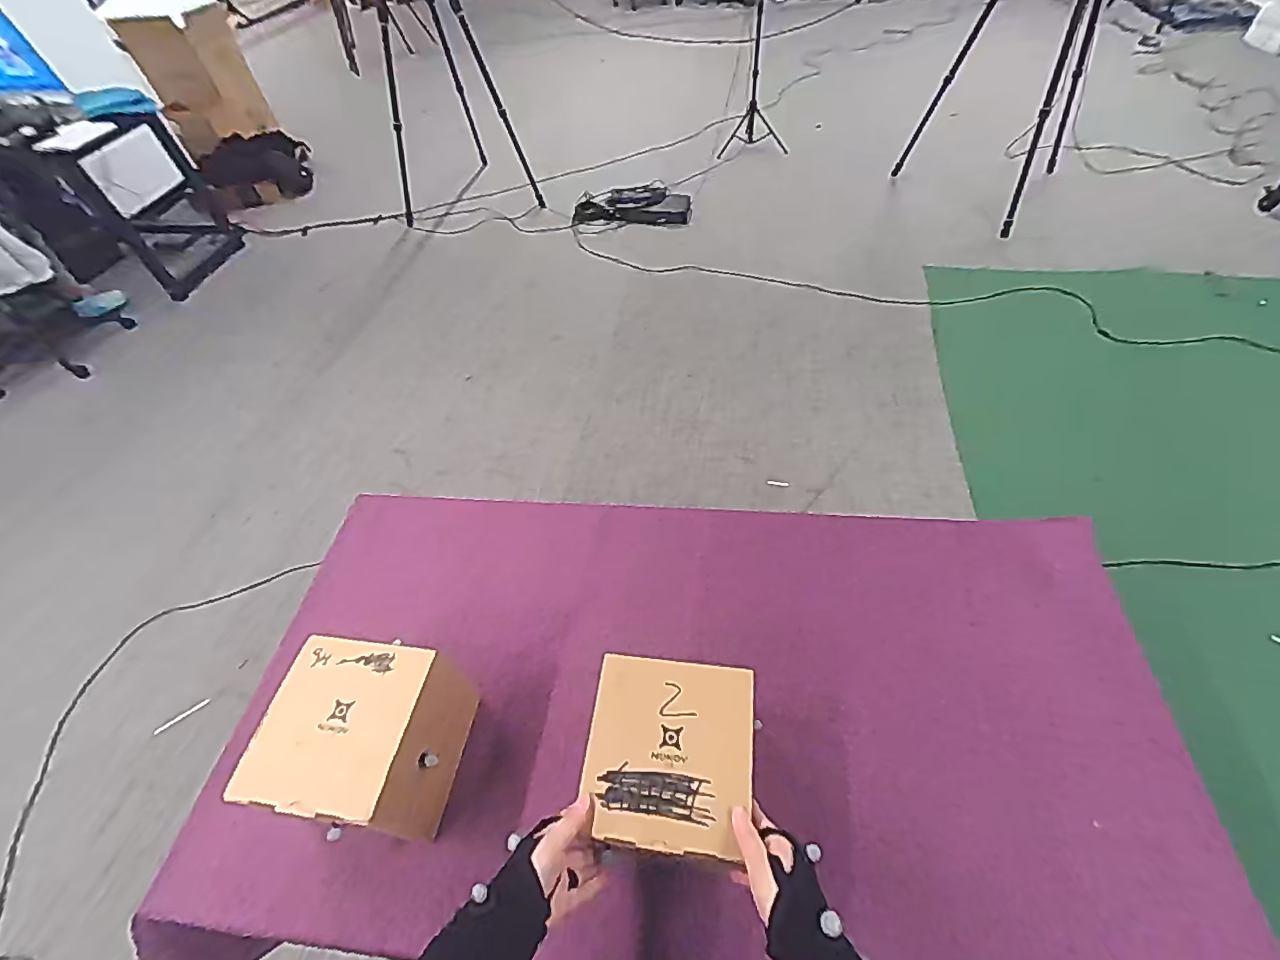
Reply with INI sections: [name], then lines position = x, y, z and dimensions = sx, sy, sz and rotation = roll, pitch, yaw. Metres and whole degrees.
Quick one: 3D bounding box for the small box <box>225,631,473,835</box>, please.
[small box]
position = -0.321, 0.305, 0.644
dimensions = 0.168, 0.176, 0.179
rotation = 6, 53, 8
